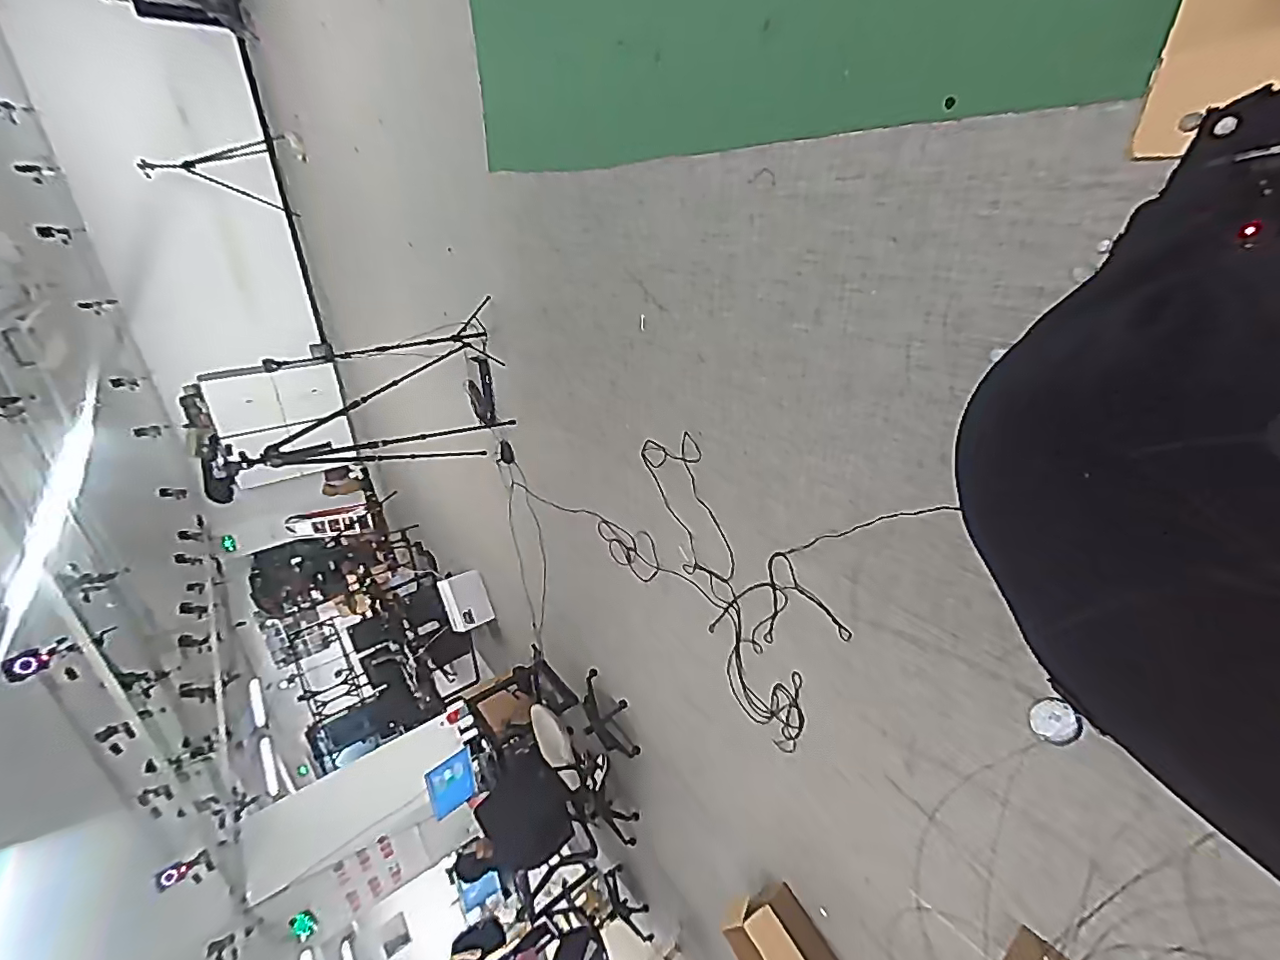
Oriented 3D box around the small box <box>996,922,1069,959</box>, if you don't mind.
[{"bbox_3d":[1.203,1.532,1.660,0.168,0.176,0.179,23,124,47],"label":"small box"}]
